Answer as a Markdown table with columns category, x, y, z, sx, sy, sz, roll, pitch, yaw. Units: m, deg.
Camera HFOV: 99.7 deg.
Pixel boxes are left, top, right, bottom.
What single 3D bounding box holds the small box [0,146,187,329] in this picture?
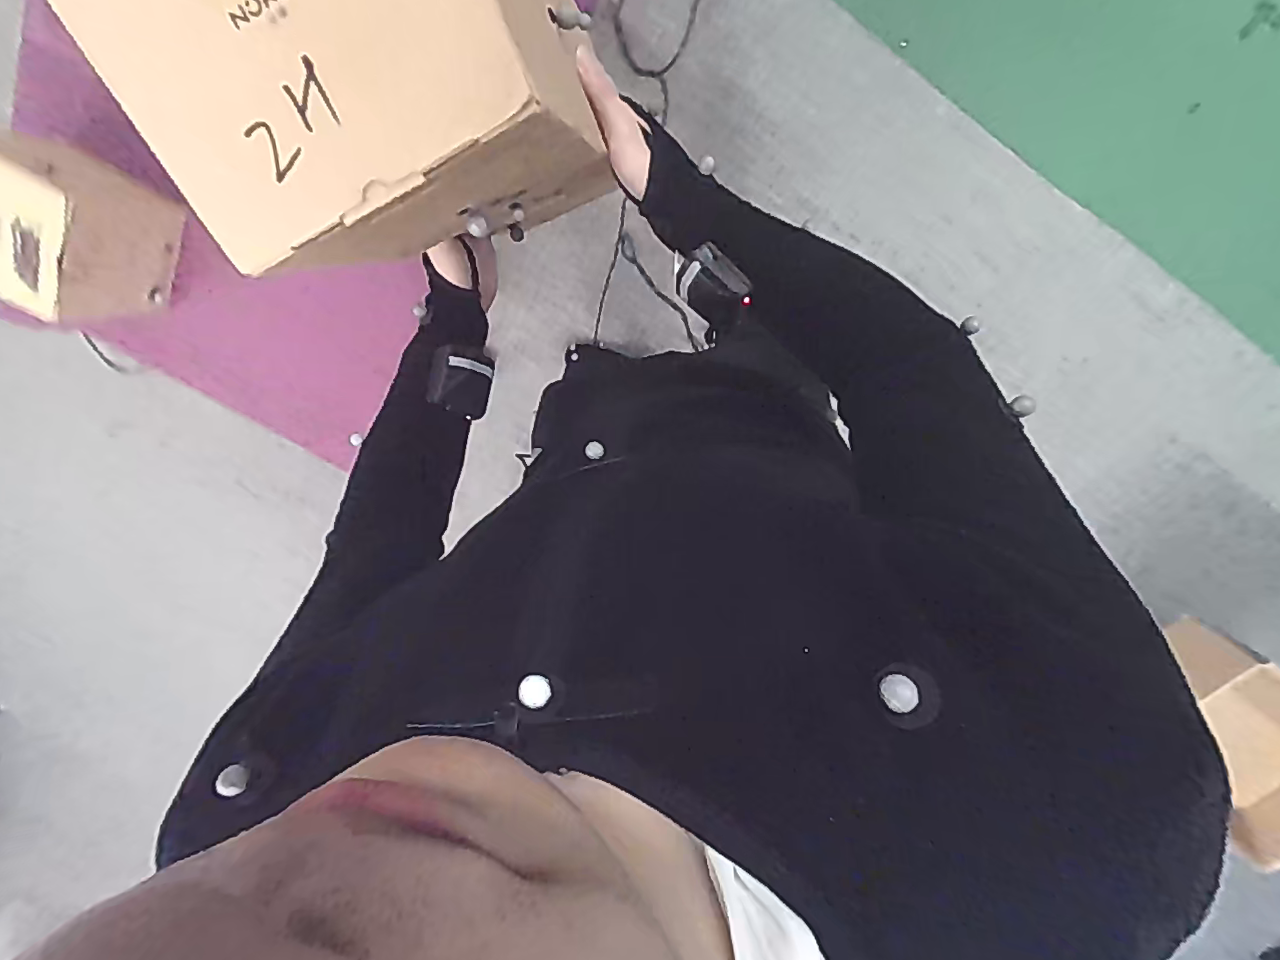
| category | x | y | z | sx | sy | sz | roll | pitch | yaw |
| --- | --- | --- | --- | --- | --- | --- | --- | --- | --- |
| small box | -0.773 | -0.329 | 0.733 | 0.179 | 0.176 | 0.168 | 29 | 111 | -7 |
